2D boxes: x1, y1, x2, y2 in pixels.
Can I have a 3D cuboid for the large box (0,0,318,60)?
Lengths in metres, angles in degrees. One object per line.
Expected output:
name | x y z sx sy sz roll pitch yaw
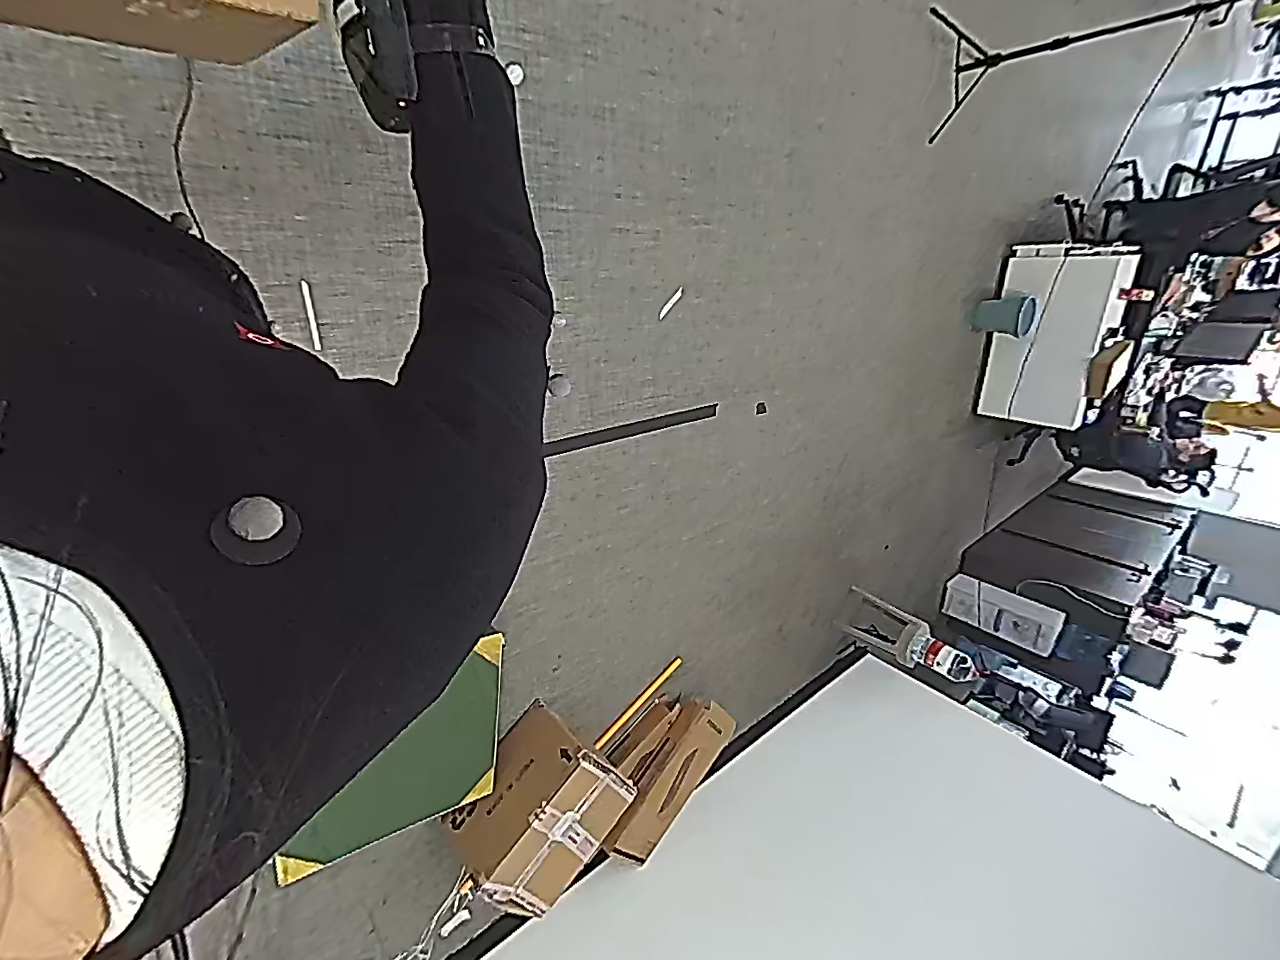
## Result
large box | -0.428 -0.418 0.232 0.408 0.320 0.320 -18 128 -36
